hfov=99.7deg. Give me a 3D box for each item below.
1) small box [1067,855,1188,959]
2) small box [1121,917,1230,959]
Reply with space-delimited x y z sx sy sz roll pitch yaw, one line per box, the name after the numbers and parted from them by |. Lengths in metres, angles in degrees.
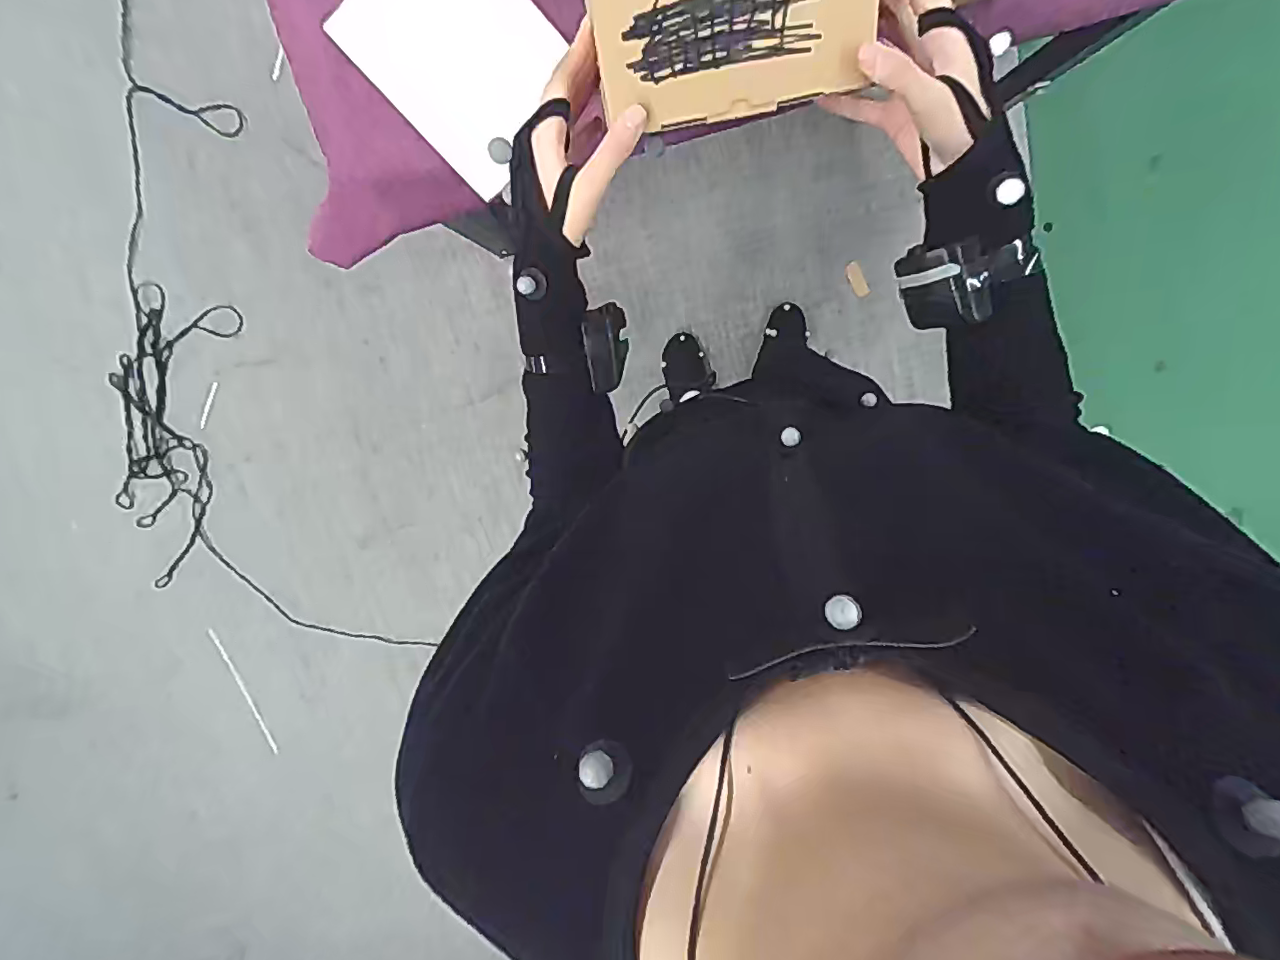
1.201 1.064 1.323 0.168 0.176 0.179 -28 101 8 | small box
1.195 1.105 1.164 0.179 0.176 0.168 -29 100 8 | small box
